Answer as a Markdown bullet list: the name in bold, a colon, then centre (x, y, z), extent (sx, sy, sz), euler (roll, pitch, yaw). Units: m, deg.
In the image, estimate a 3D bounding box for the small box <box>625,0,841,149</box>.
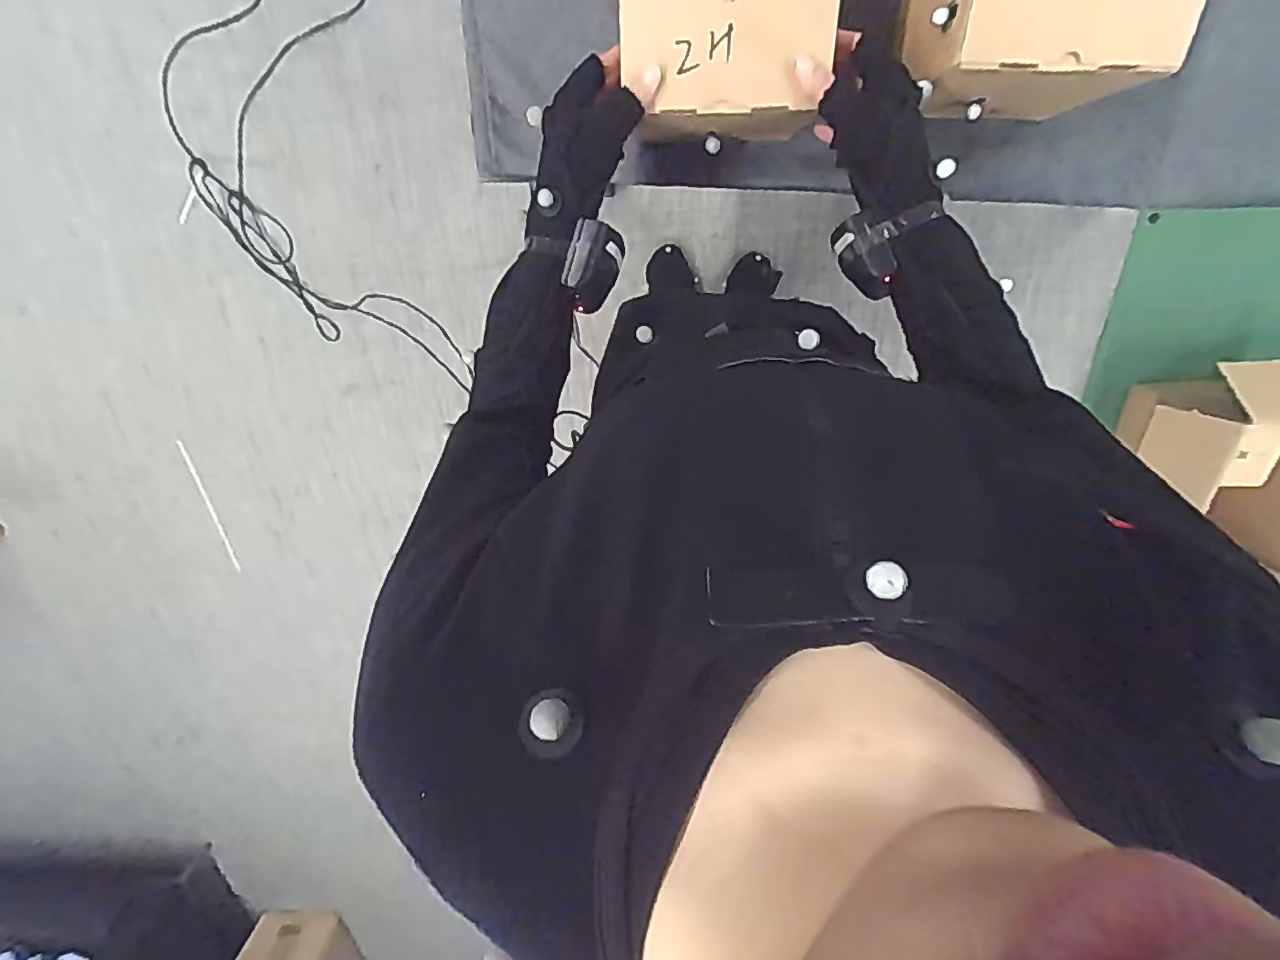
- **small box**: centre (0.074, -0.407, 0.477), extent (0.168, 0.176, 0.179), euler (1, 115, 4)
